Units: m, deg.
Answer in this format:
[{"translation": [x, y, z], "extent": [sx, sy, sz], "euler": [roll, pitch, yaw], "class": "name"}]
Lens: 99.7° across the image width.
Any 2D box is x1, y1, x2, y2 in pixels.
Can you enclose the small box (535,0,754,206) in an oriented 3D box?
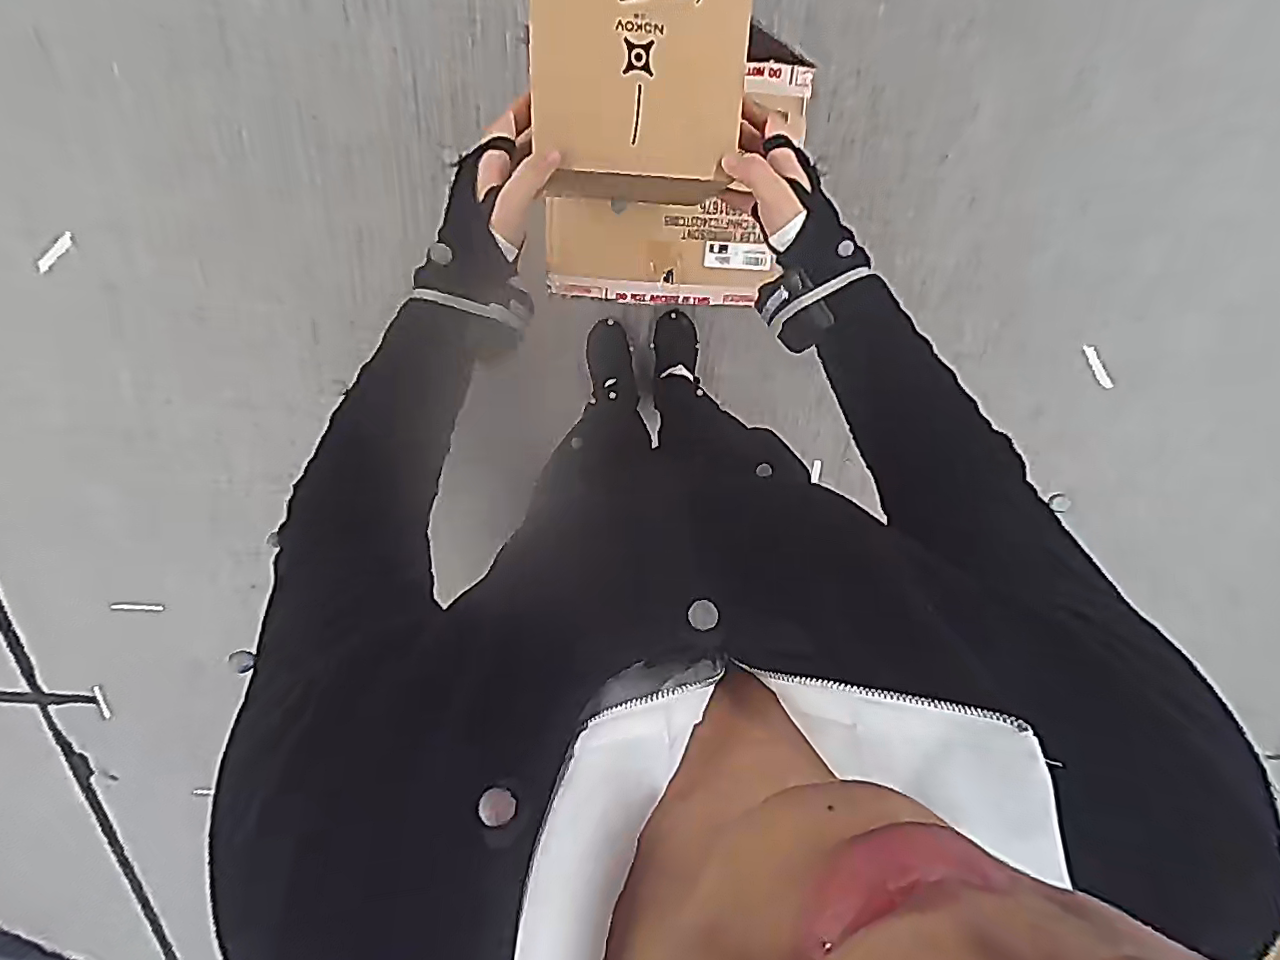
[{"translation": [-0.006, -0.358, 0.483], "extent": [0.168, 0.176, 0.179], "euler": [1, 111, -6], "class": "small box"}]
